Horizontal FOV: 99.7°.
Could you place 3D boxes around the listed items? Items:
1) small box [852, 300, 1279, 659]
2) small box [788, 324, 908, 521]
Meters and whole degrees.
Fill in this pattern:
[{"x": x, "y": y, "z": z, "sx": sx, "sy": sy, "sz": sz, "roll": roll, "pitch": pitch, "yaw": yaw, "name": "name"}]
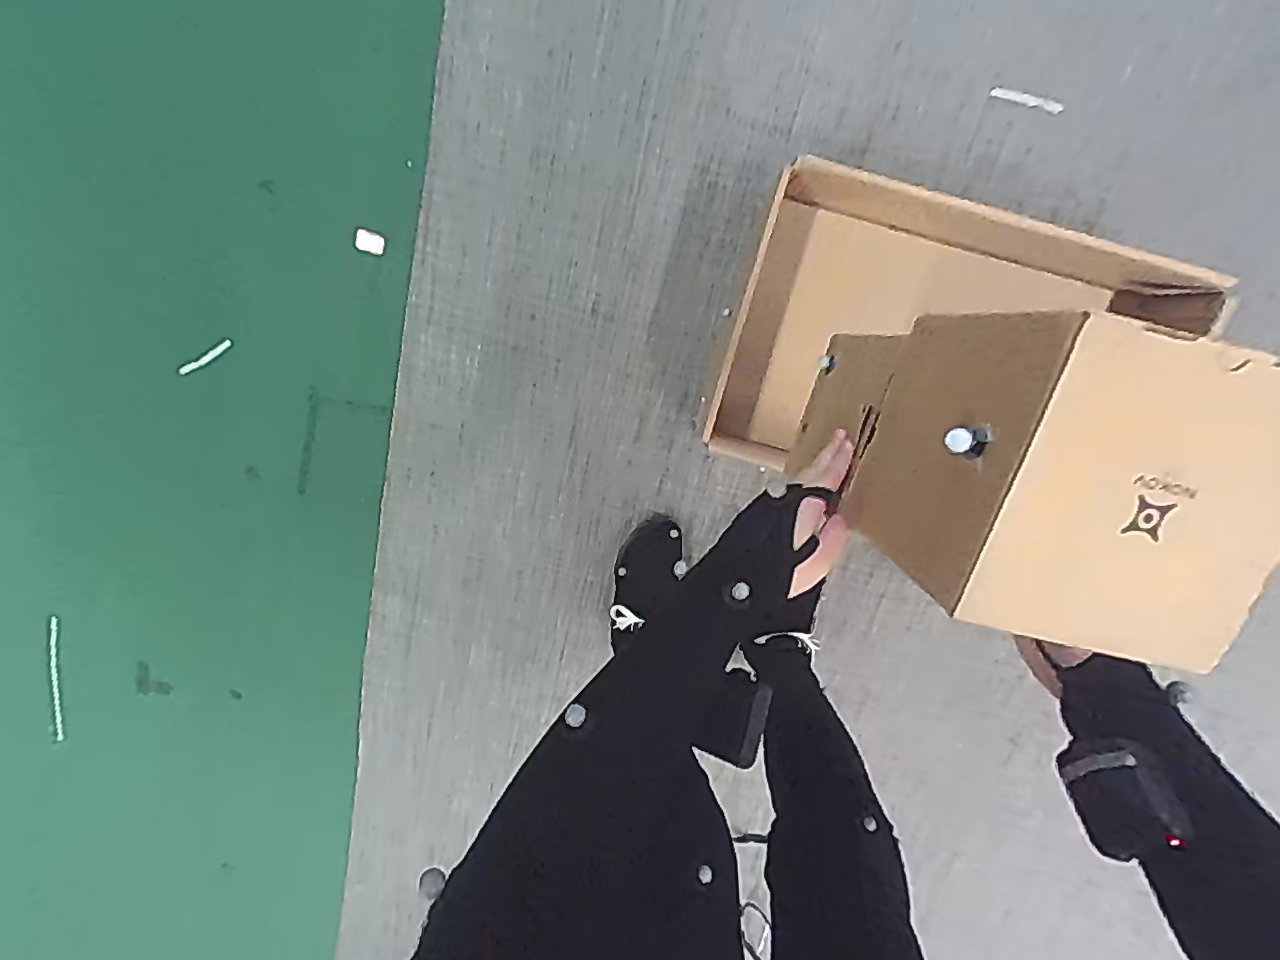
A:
[{"x": 0.270, "y": -0.014, "z": 0.372, "sx": 0.168, "sy": 0.176, "sz": 0.179, "roll": 13, "pitch": 106, "yaw": -3, "name": "small box"}, {"x": 0.267, "y": -0.048, "z": 0.531, "sx": 0.179, "sy": 0.176, "sz": 0.168, "roll": 14, "pitch": 106, "yaw": -5, "name": "small box"}]
